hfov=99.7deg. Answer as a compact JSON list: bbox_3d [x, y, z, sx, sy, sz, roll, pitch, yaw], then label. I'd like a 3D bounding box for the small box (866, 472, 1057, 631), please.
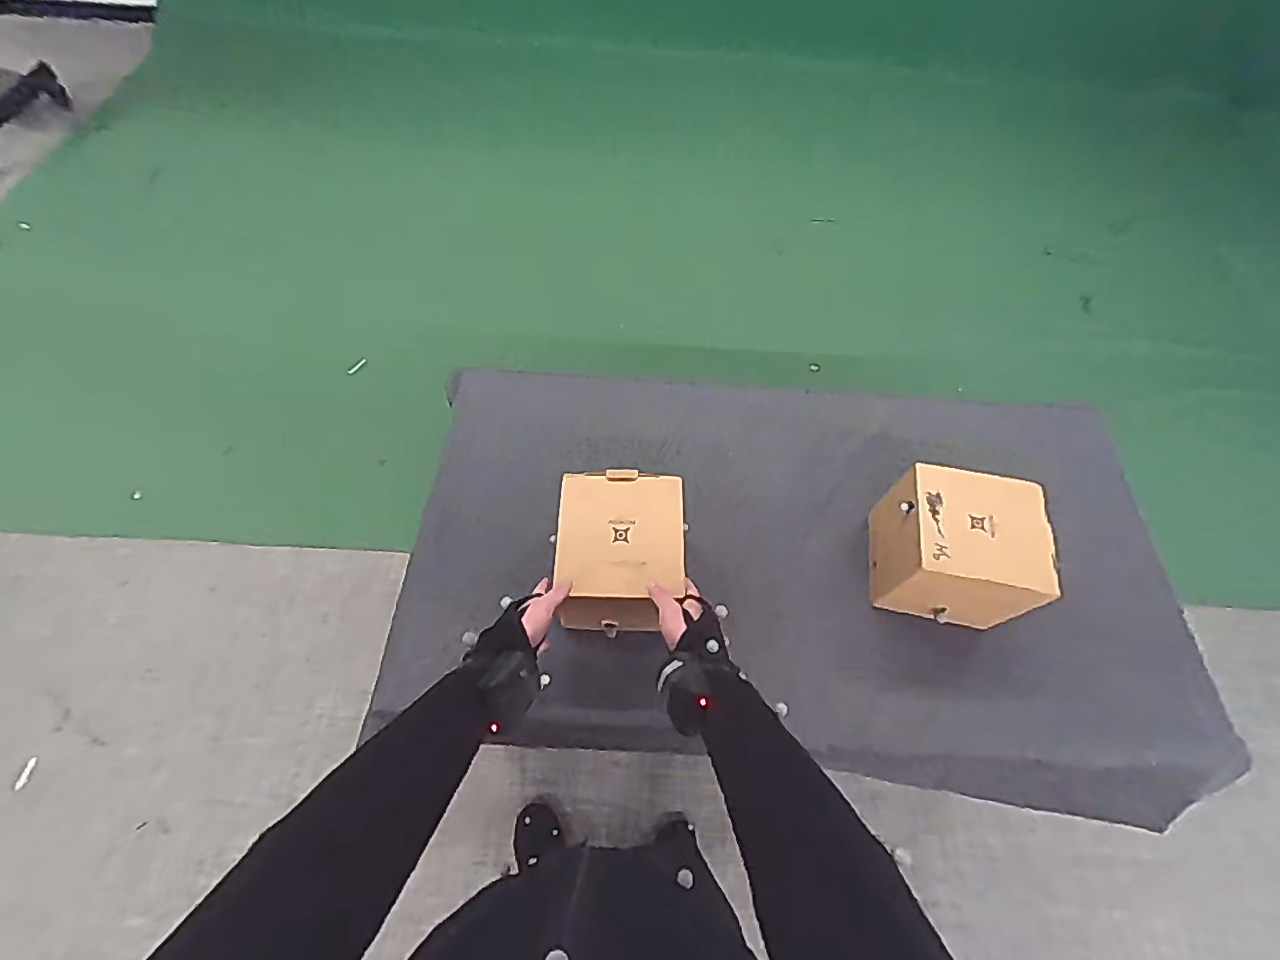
[{"bbox_3d":[0.456,0.113,0.795,0.179,0.176,0.168,12,61,3],"label":"small box"}]

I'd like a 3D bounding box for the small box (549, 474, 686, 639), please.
[{"bbox_3d":[-0.026,0.111,0.756,0.168,0.176,0.179,2,61,1],"label":"small box"}]
